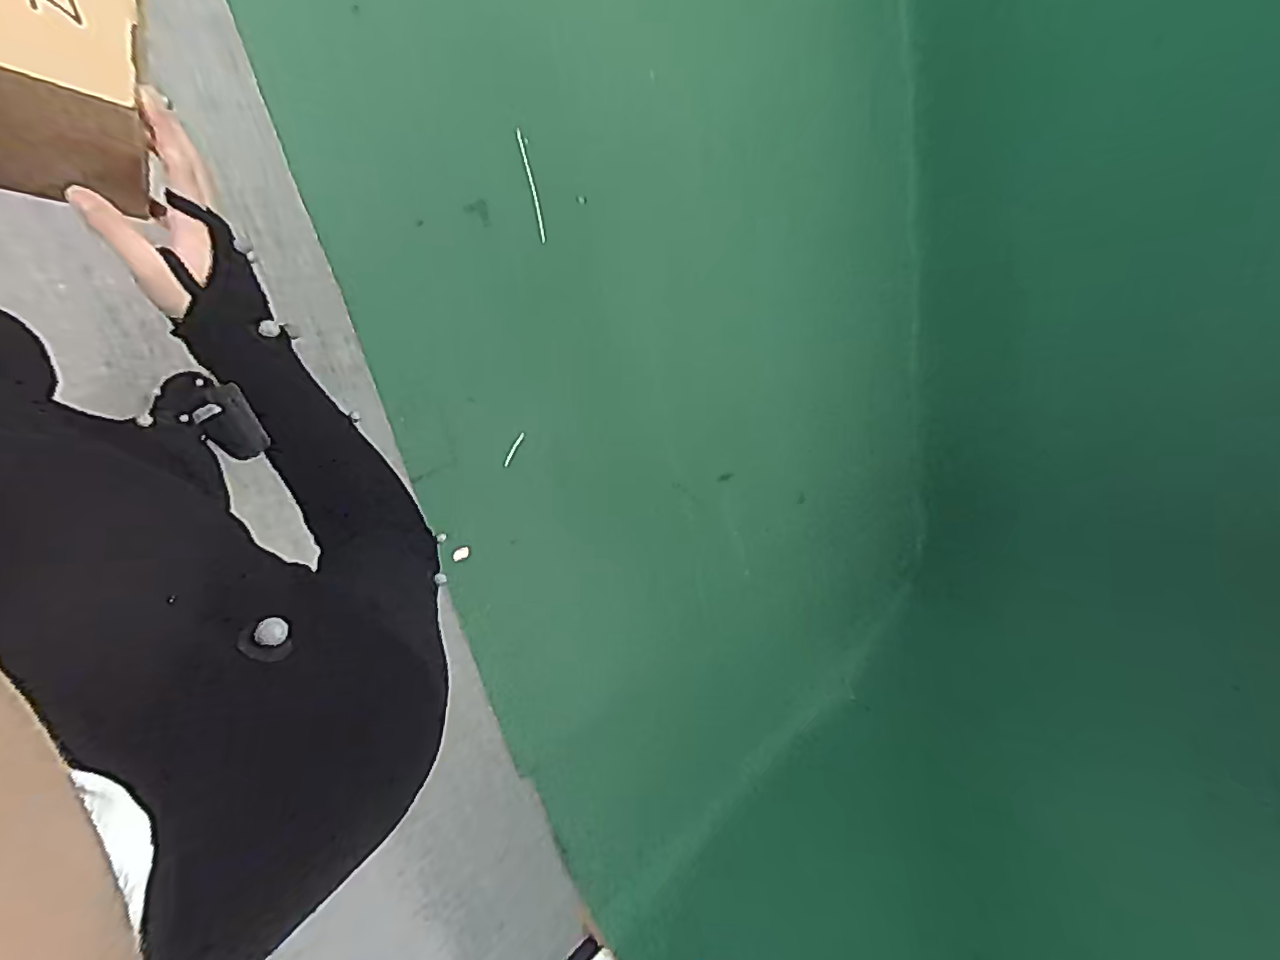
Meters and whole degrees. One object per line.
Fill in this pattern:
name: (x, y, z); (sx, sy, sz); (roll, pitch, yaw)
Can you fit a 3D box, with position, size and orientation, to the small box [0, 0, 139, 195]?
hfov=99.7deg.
small box: (-0.457, -0.324, 0.357); (0.179, 0.176, 0.168); (-1, 86, -40)
